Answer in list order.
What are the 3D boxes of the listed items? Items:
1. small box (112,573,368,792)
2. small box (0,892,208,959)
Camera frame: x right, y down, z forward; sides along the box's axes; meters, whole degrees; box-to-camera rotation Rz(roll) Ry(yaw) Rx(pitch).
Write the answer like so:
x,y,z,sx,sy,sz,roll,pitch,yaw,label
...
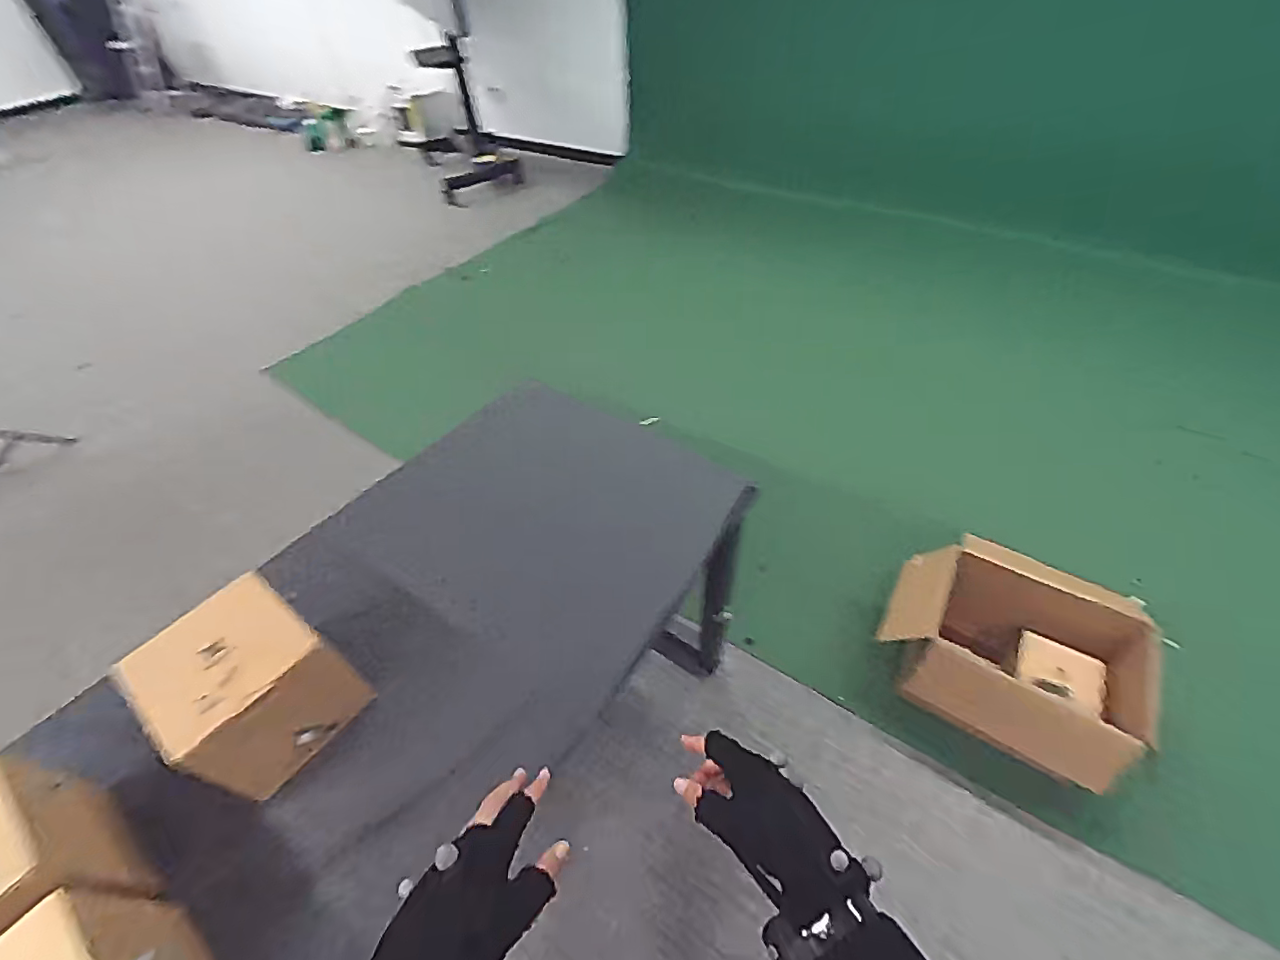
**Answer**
x,y,z,sx,sy,sz,roll,pitch,yaw,label
-0.492,0.259,0.688,0.179,0.176,0.168,28,55,25,small box
-0.496,0.507,0.462,0.179,0.176,0.168,28,55,25,small box
